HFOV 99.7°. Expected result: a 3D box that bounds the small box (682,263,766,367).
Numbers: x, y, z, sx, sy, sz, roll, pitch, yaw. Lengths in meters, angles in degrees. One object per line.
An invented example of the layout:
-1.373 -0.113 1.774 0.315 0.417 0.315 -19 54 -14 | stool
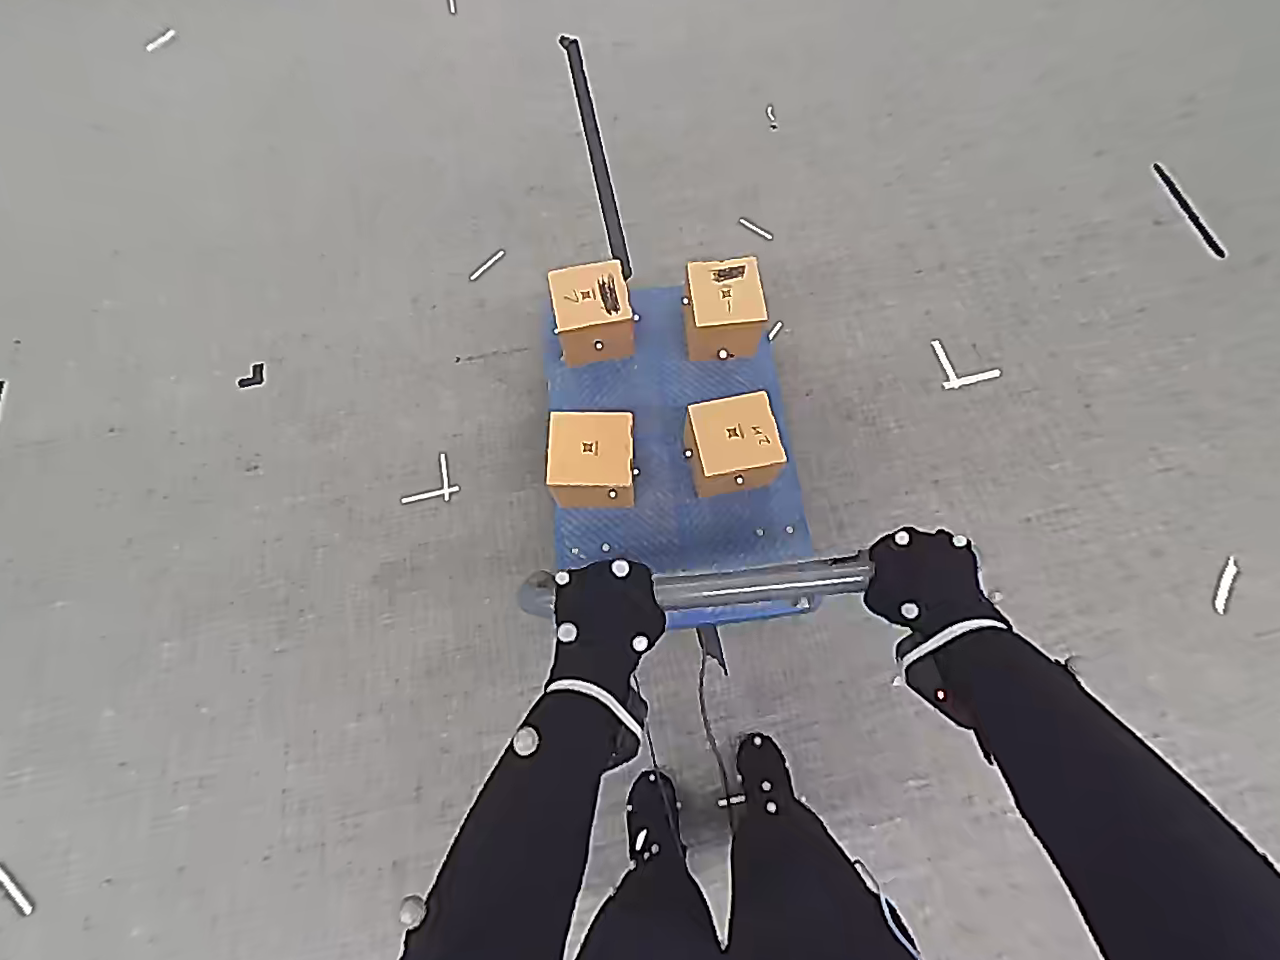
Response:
0.198 -0.399 1.322 0.168 0.176 0.179 -6 73 -1 | small box

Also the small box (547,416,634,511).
-0.104 -0.031 1.203 0.179 0.176 0.168 0 71 -1 | small box

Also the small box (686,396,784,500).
0.201 -0.064 1.210 0.179 0.176 0.168 -11 72 -3 | small box
